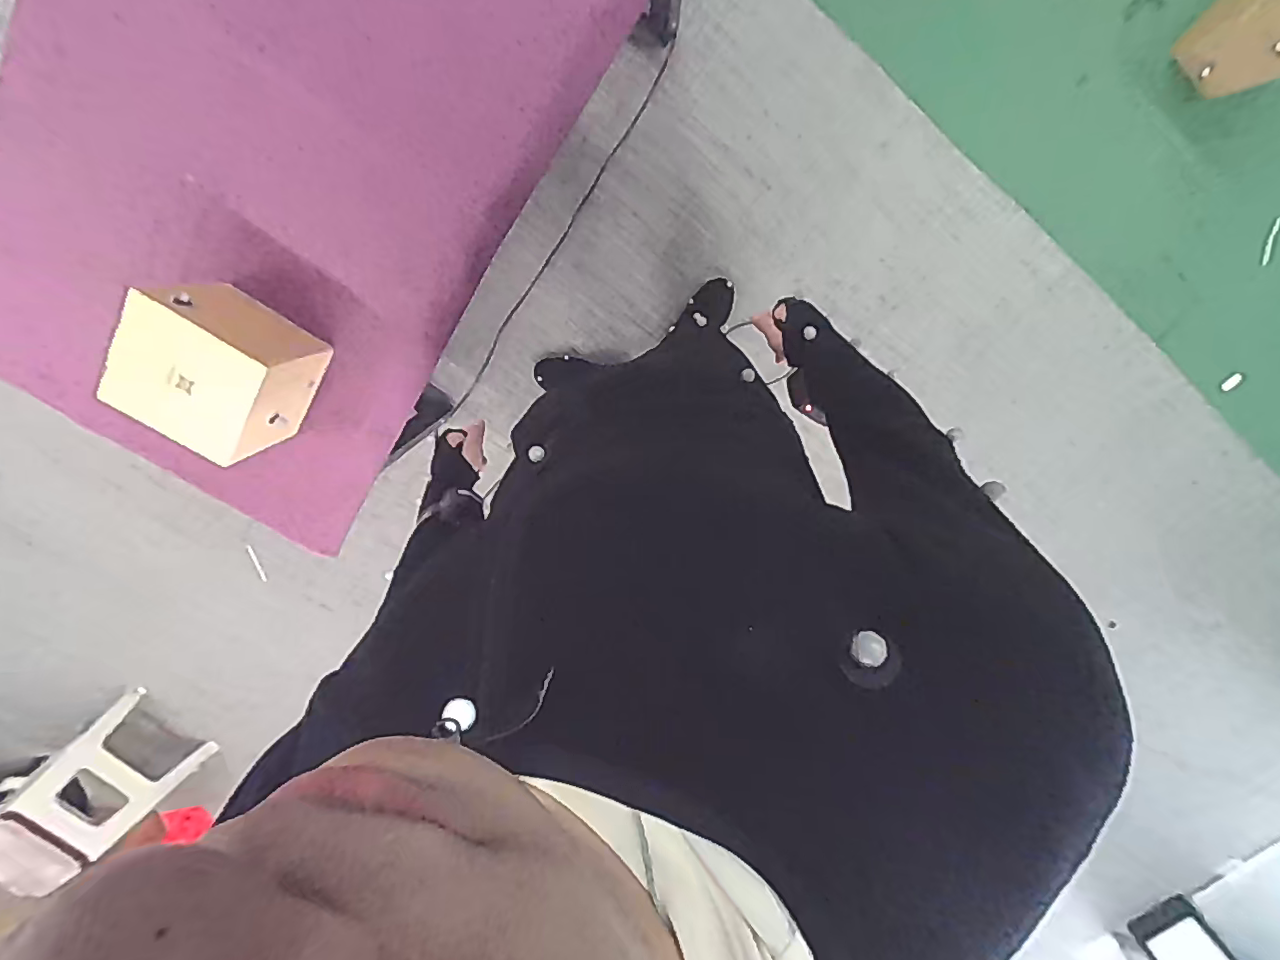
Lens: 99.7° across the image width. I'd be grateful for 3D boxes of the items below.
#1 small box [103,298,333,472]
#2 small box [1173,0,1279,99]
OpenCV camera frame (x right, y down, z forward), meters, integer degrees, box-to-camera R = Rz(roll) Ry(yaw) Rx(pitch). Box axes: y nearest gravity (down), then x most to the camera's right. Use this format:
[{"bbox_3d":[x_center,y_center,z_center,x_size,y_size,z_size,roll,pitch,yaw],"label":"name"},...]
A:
[{"bbox_3d":[-0.581,-0.145,0.768,0.179,0.176,0.168,32,108,-10],"label":"small box"},{"bbox_3d":[1.364,-0.997,1.193,0.168,0.176,0.179,37,107,-12],"label":"small box"}]
